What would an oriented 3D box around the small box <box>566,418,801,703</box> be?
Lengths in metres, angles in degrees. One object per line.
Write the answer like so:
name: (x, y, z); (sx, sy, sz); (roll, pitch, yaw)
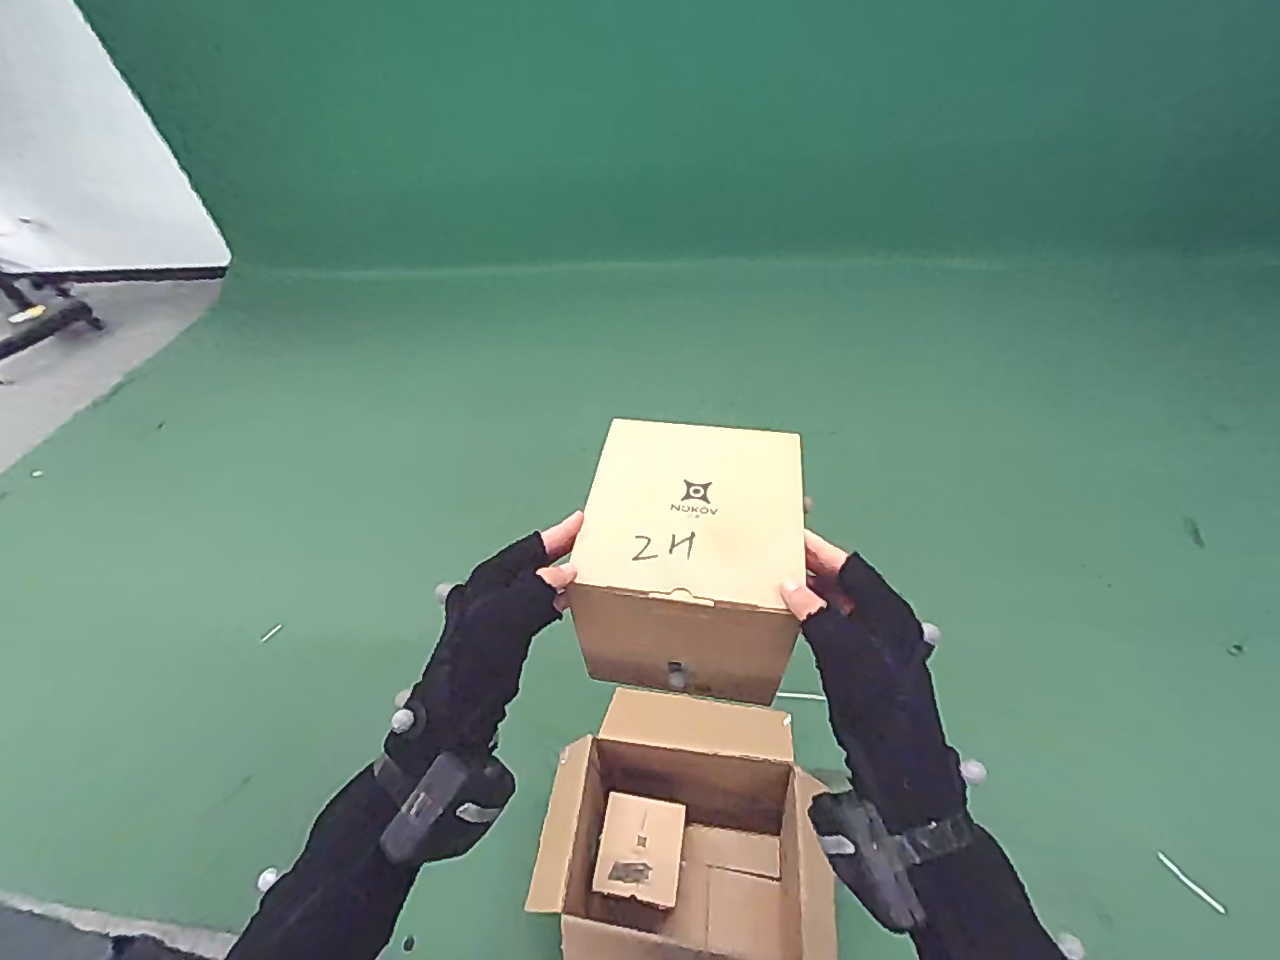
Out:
small box: (0.043, 0.070, 0.480); (0.168, 0.176, 0.179); (6, 48, 8)
